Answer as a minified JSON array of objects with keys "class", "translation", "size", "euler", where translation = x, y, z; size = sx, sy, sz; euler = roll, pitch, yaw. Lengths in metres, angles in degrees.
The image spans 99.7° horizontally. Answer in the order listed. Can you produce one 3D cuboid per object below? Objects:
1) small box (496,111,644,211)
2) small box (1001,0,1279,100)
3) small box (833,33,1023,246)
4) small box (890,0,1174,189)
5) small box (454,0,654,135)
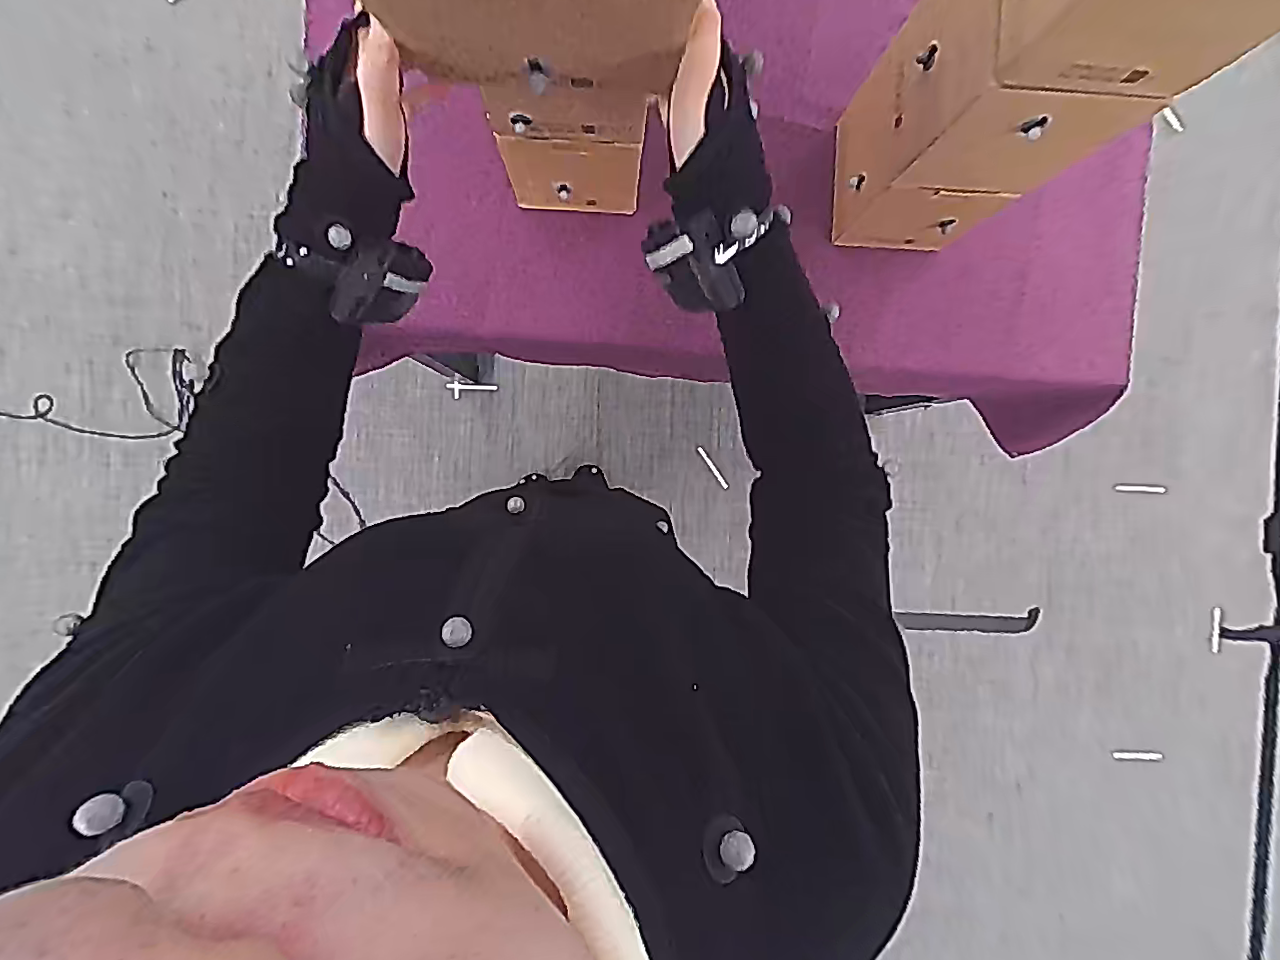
[{"class":"small box","translation":[-0.081,-0.468,0.679],"size":[0.168,0.176,0.179],"euler":[1,93,-4]},{"class":"small box","translation":[0.389,-0.415,0.378],"size":[0.168,0.176,0.179],"euler":[2,92,-4]},{"class":"small box","translation":[0.366,-0.424,0.705],"size":[0.168,0.176,0.179],"euler":[2,92,-4]},{"class":"small box","translation":[0.375,-0.416,0.541],"size":[0.179,0.176,0.168],"euler":[1,93,-4]},{"class":"small box","translation":[-0.072,-0.463,0.515],"size":[0.168,0.176,0.179],"euler":[0,92,-4]}]
